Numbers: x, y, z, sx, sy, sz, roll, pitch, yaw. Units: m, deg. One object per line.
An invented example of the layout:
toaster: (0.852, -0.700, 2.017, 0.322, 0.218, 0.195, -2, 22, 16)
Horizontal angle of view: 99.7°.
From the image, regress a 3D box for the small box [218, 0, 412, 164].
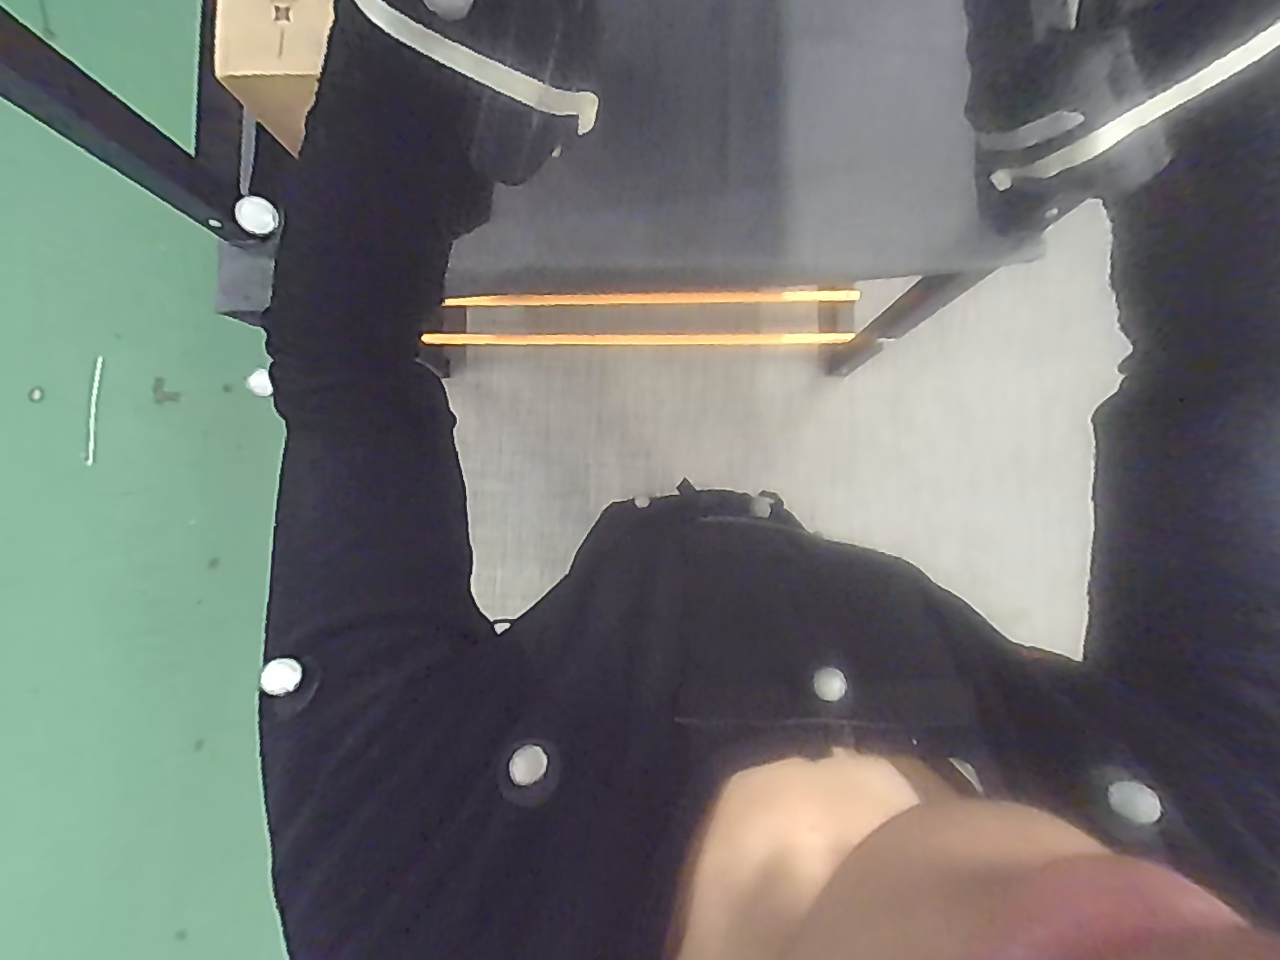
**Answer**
small box: (-0.428, -0.571, 0.741, 0.168, 0.176, 0.179, 0, 86, 1)

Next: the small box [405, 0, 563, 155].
small box: (-0.201, -0.578, 0.740, 0.168, 0.176, 0.179, 1, 85, 1)
